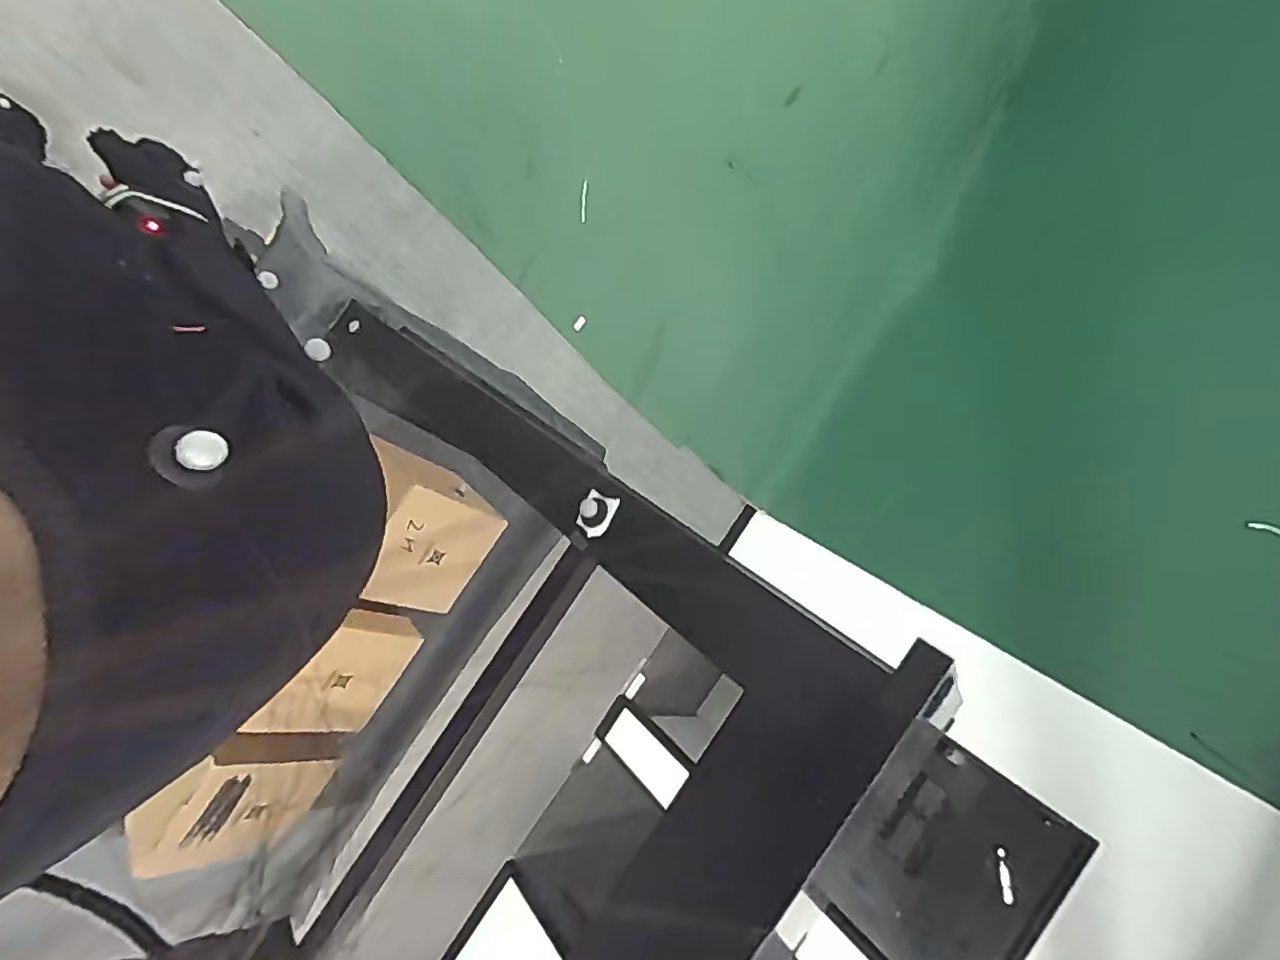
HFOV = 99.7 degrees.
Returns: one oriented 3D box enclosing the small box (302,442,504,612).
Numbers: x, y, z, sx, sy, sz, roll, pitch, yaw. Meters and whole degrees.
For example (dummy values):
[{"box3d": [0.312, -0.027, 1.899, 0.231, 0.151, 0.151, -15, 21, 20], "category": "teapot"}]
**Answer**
[{"box3d": [-0.342, 0.067, 0.785, 0.168, 0.176, 0.179, -57, 144, -1], "category": "small box"}]
